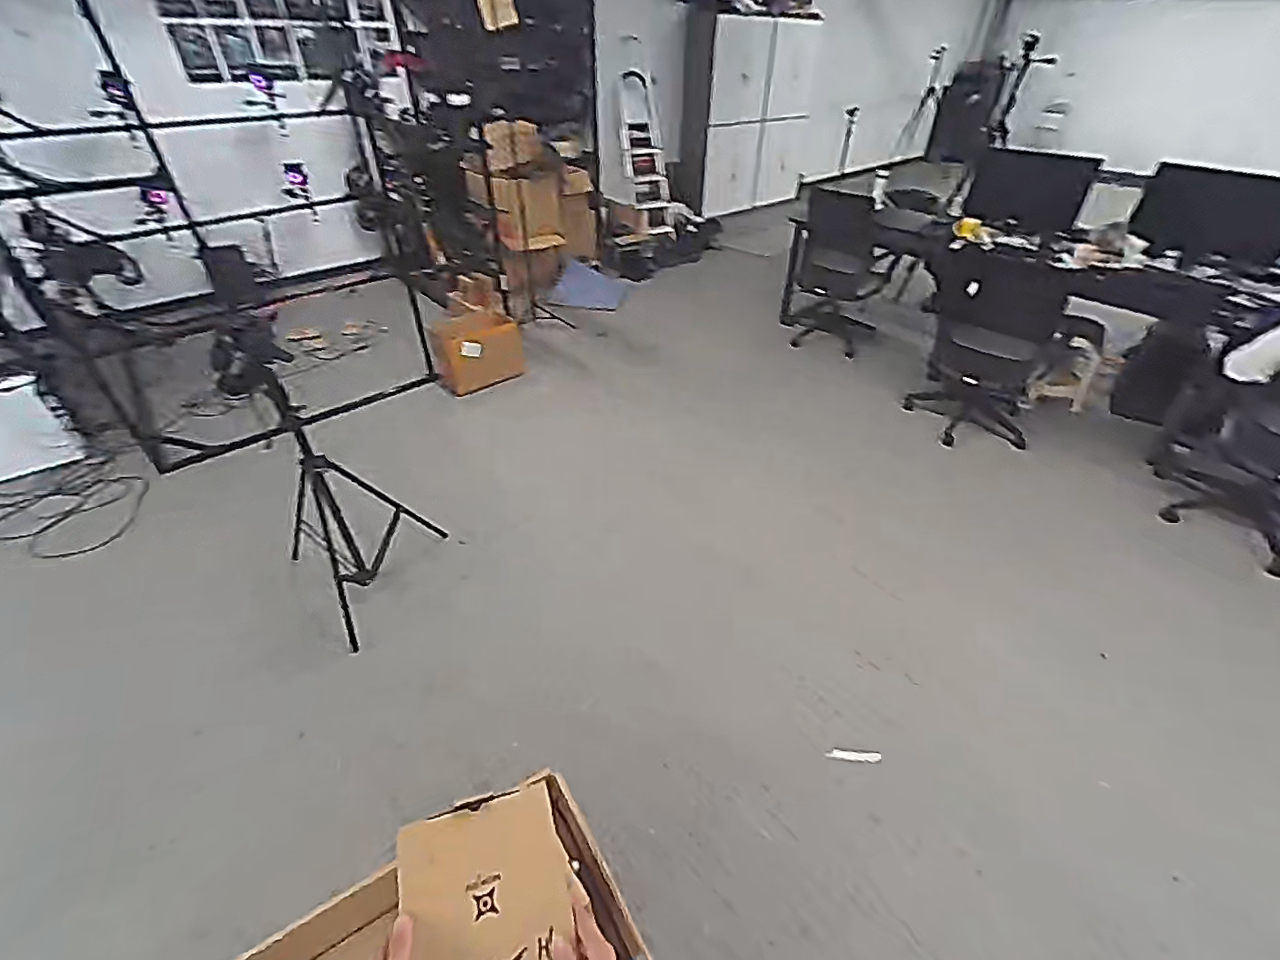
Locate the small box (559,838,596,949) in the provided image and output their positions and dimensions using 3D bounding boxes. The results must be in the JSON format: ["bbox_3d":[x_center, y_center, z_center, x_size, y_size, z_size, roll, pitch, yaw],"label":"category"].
[{"bbox_3d":[-0.180,0.630,0.801,0.179,0.176,0.168,-25,45,-26],"label":"small box"}]

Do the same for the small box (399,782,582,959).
[{"bbox_3d":[-0.169,0.479,0.607,0.168,0.176,0.179,-8,48,-19],"label":"small box"}]
